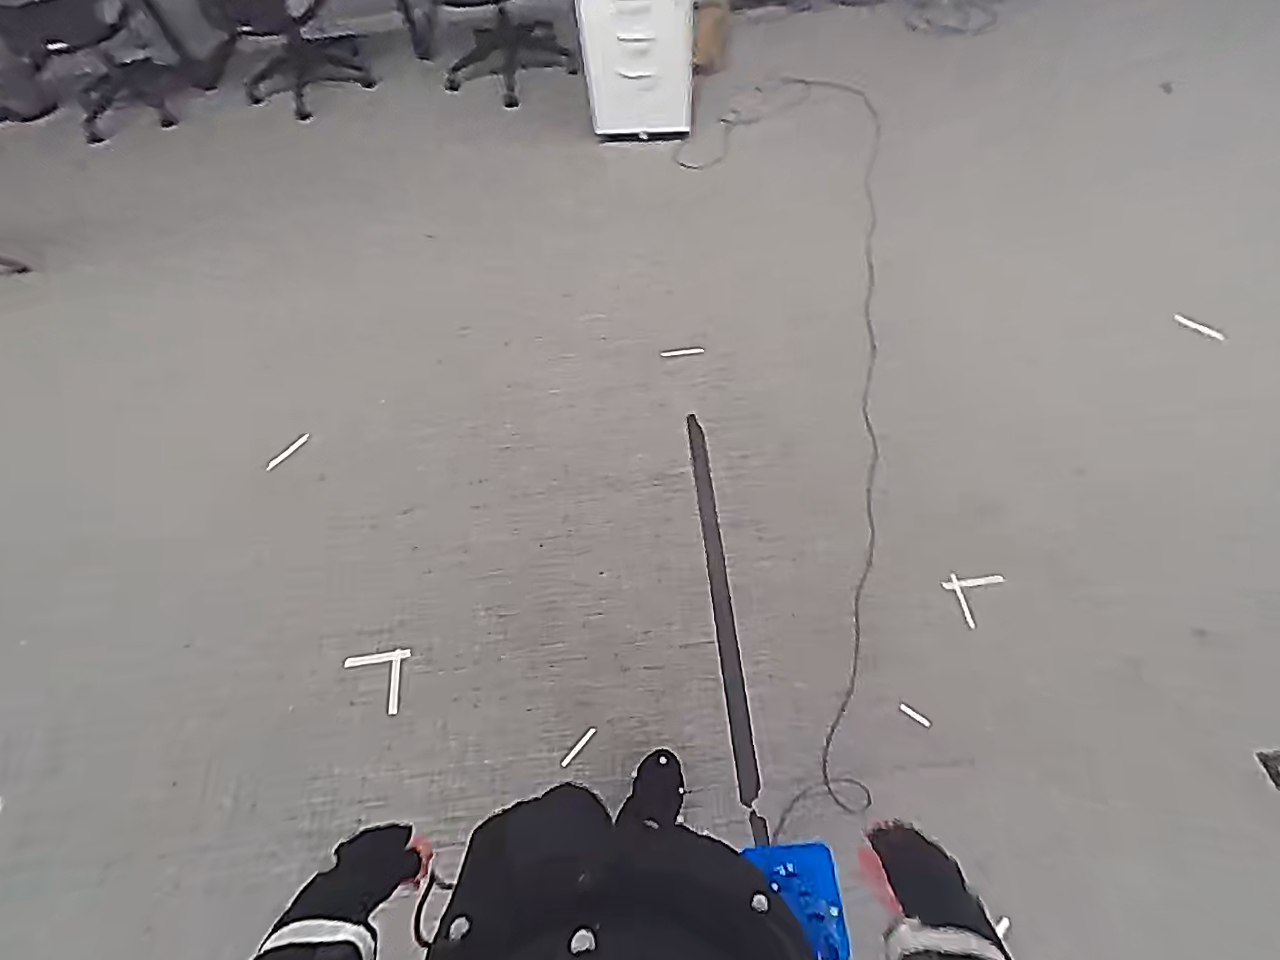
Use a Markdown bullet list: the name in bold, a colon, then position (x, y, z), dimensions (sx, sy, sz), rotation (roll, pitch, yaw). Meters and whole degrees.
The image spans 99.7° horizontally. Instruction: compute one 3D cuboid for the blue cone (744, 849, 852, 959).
- **blue cone**: position (0.301, 0.785, 0.944), dimensions (0.193, 0.380, 0.192), rotation (-7, 61, 0)
